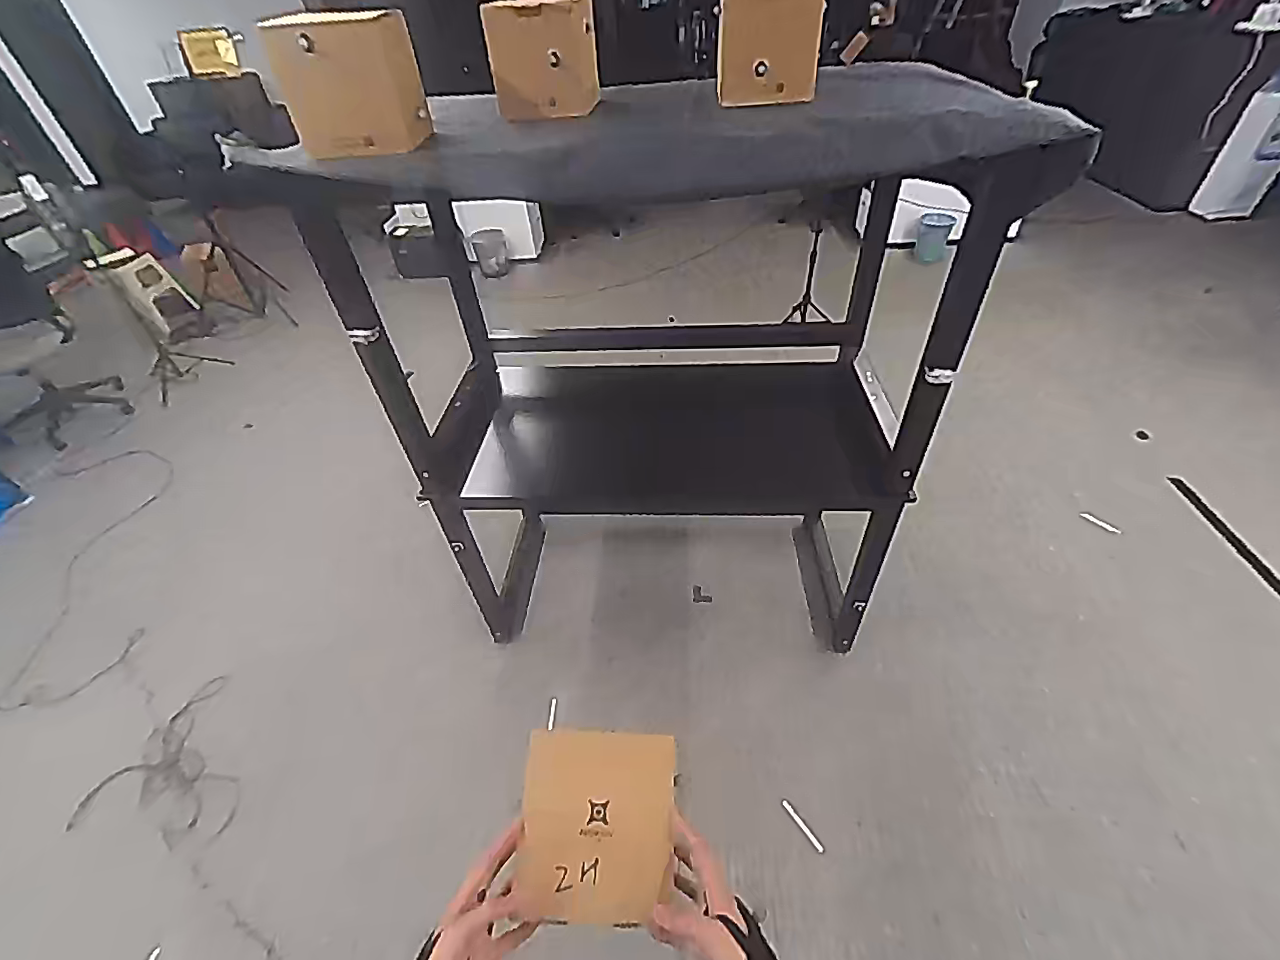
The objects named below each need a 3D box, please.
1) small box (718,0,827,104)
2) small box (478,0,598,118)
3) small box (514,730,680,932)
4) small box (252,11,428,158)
[{"bbox_3d":[0.229,-0.794,0.976,0.168,0.176,0.179,0,44,5],"label":"small box"},{"bbox_3d":[-0.177,-0.788,1.007,0.168,0.176,0.179,2,44,6],"label":"small box"},{"bbox_3d":[-0.043,0.405,0.643,0.168,0.176,0.179,3,60,0],"label":"small box"},{"bbox_3d":[-0.451,-0.622,0.852,0.168,0.176,0.179,-5,43,0],"label":"small box"}]
